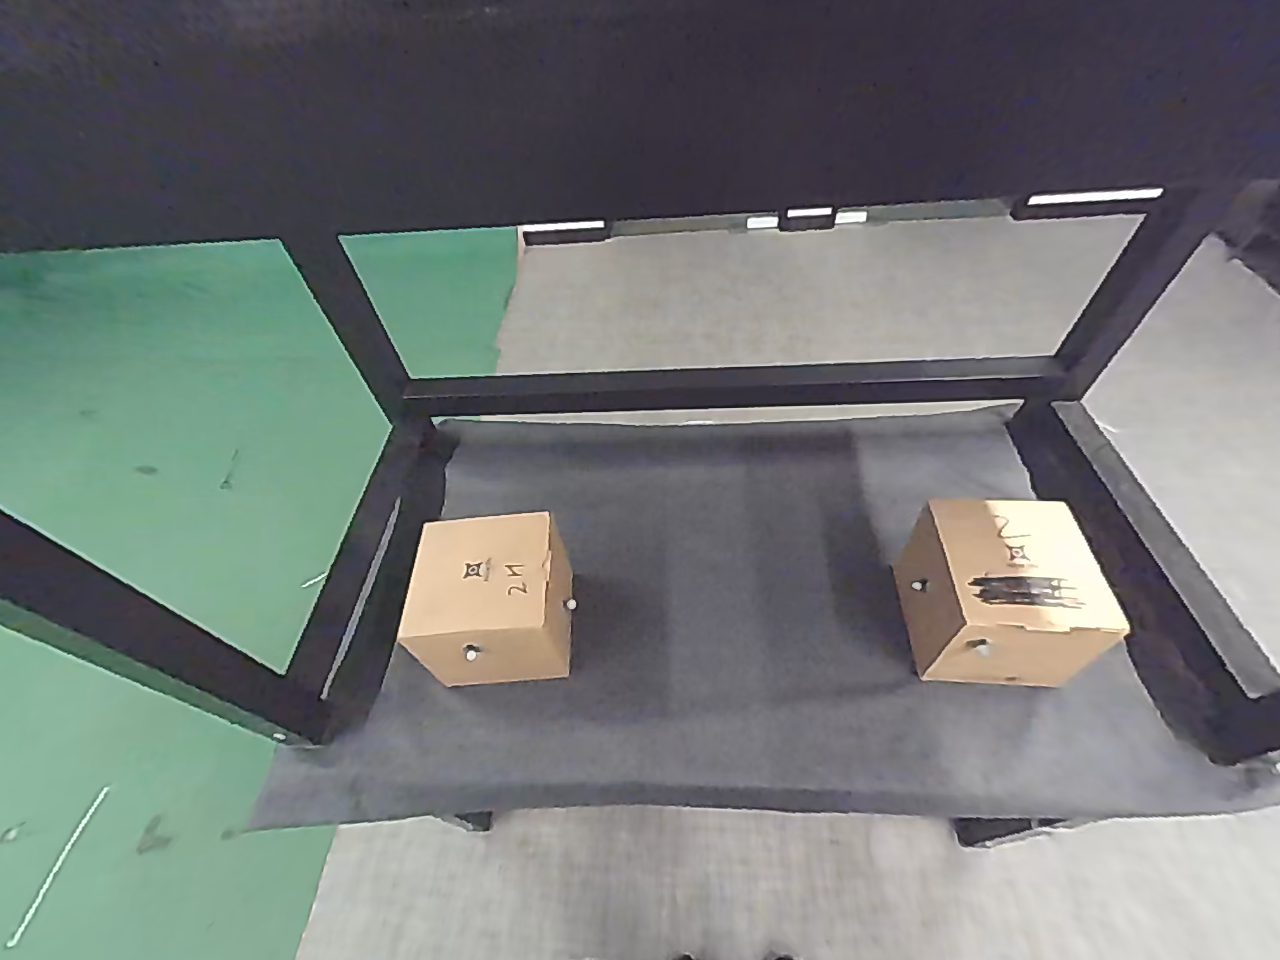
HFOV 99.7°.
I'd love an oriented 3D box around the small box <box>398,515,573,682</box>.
[{"bbox_3d":[-0.196,0.167,0.742,0.179,0.176,0.168,-4,51,1],"label":"small box"}]
